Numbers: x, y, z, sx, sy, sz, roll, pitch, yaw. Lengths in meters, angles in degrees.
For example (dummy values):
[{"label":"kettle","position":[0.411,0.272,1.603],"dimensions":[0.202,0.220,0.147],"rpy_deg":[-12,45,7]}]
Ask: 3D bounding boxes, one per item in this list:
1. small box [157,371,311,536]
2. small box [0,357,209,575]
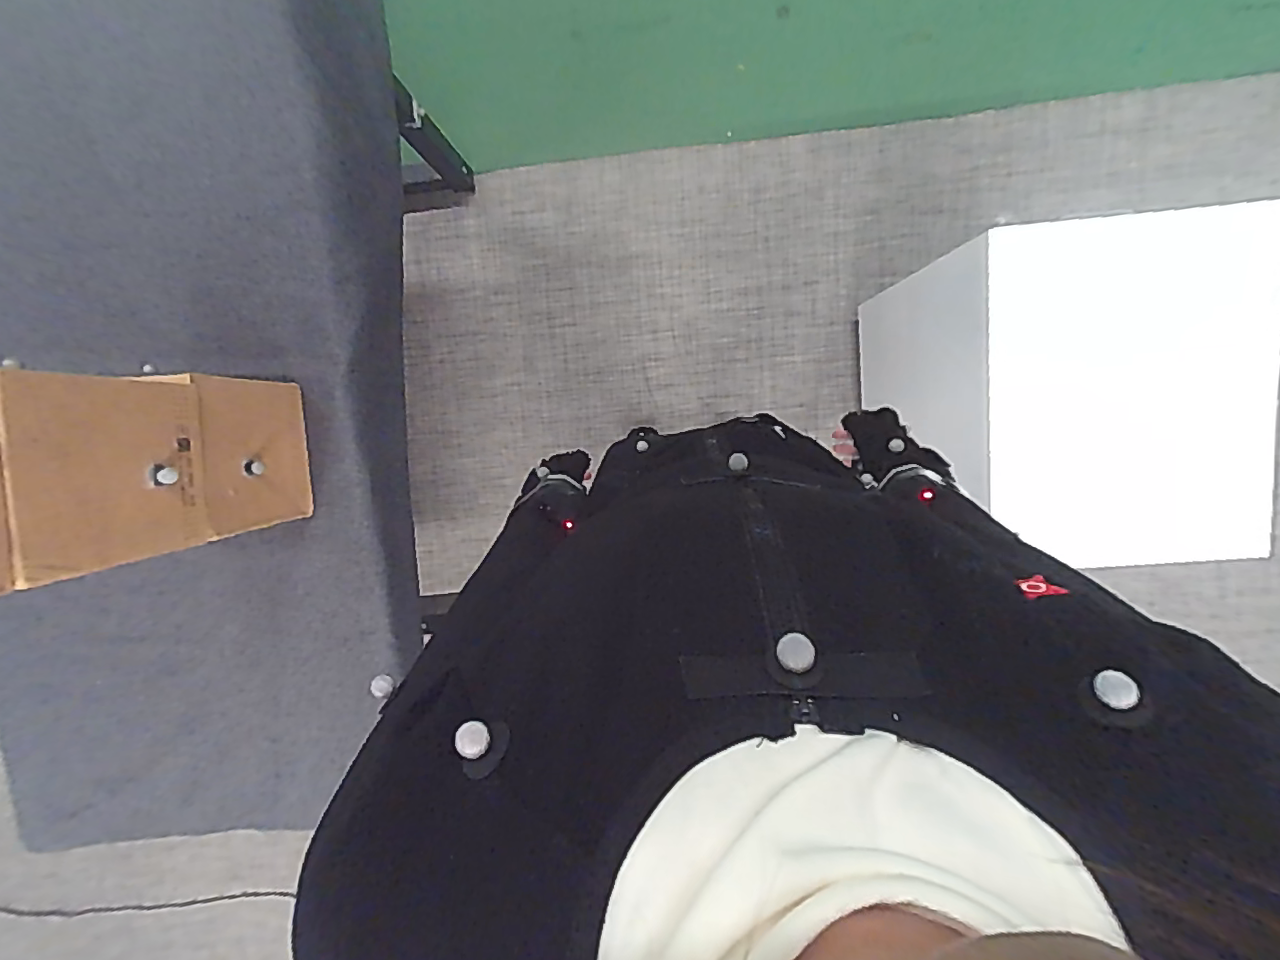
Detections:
[{"label":"small box","position":[-0.530,-0.036,0.651],"dimensions":[0.168,0.176,0.179],"rpy_deg":[-2,97,4]},{"label":"small box","position":[-0.547,-0.016,0.489],"dimensions":[0.179,0.176,0.168],"rpy_deg":[-2,97,6]}]
